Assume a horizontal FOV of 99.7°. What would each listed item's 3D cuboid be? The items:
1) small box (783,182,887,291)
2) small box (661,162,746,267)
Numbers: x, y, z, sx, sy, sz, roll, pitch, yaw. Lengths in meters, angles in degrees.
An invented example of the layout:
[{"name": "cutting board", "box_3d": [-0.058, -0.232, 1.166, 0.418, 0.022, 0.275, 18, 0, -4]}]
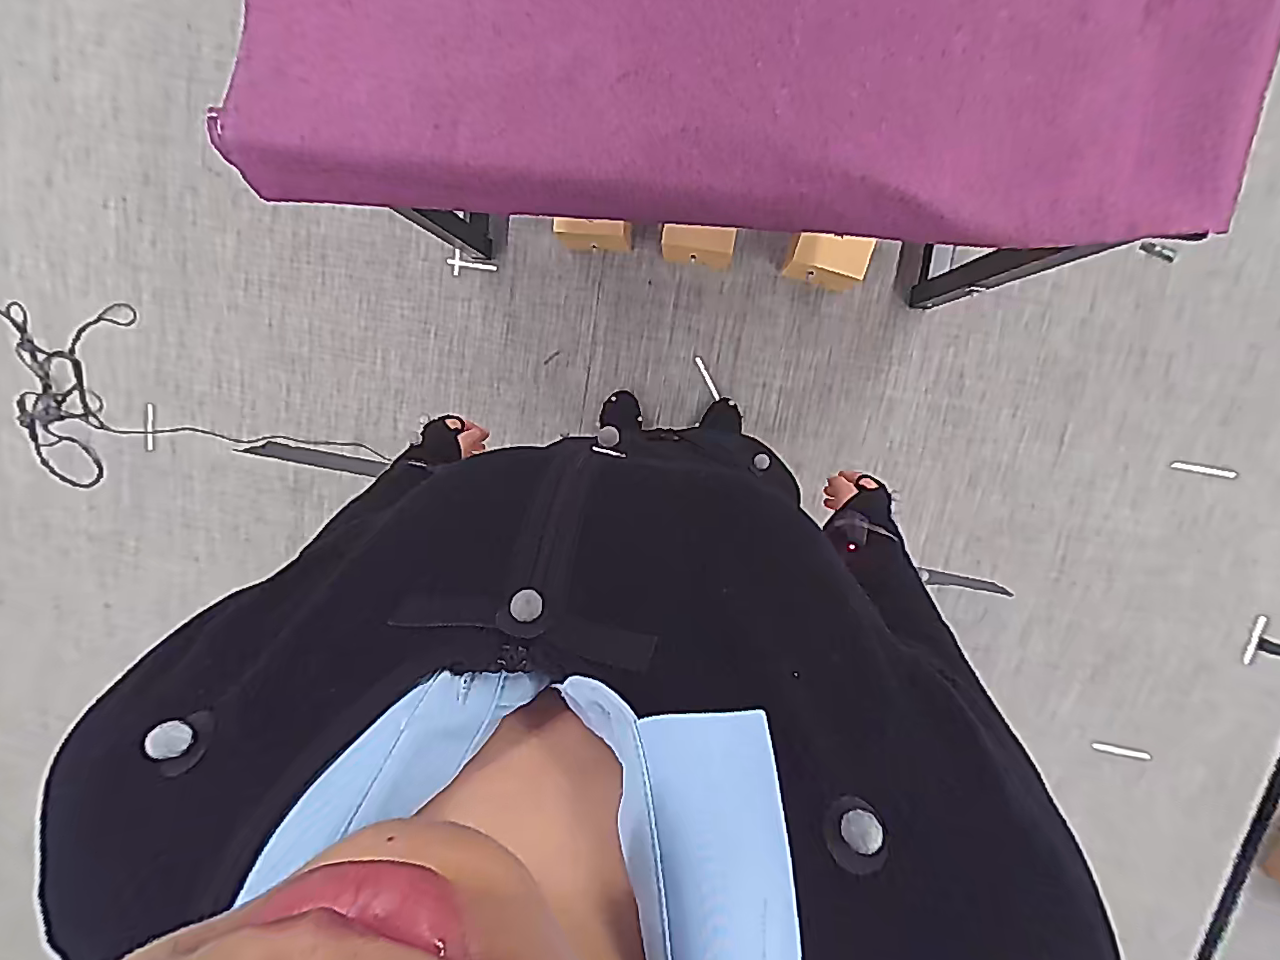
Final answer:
[{"name": "small box", "box_3d": [0.451, -0.567, 1.285, 0.168, 0.176, 0.179, 18, 100, 2]}, {"name": "small box", "box_3d": [0.148, -0.625, 1.297, 0.168, 0.176, 0.179, 10, 100, 2]}]
